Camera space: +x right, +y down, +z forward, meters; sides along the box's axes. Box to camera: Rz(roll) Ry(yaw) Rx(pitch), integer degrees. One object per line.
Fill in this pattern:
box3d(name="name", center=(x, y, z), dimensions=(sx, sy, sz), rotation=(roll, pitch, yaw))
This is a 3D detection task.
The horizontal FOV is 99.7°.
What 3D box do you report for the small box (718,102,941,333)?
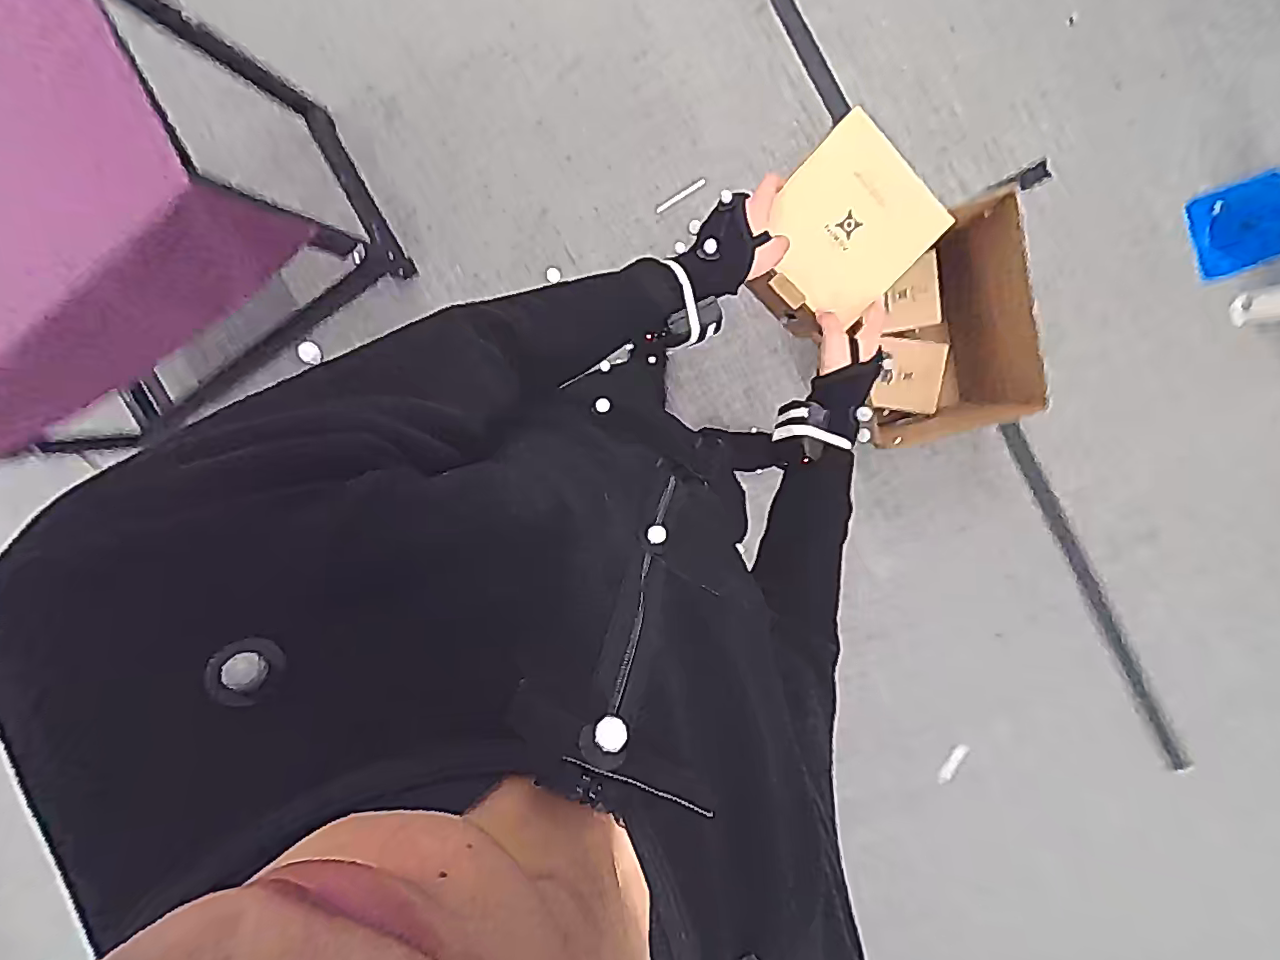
box3d(name="small box", center=(0.213, -0.301, 0.667), dimensions=(0.168, 0.176, 0.179), rotation=(41, 101, -11))
